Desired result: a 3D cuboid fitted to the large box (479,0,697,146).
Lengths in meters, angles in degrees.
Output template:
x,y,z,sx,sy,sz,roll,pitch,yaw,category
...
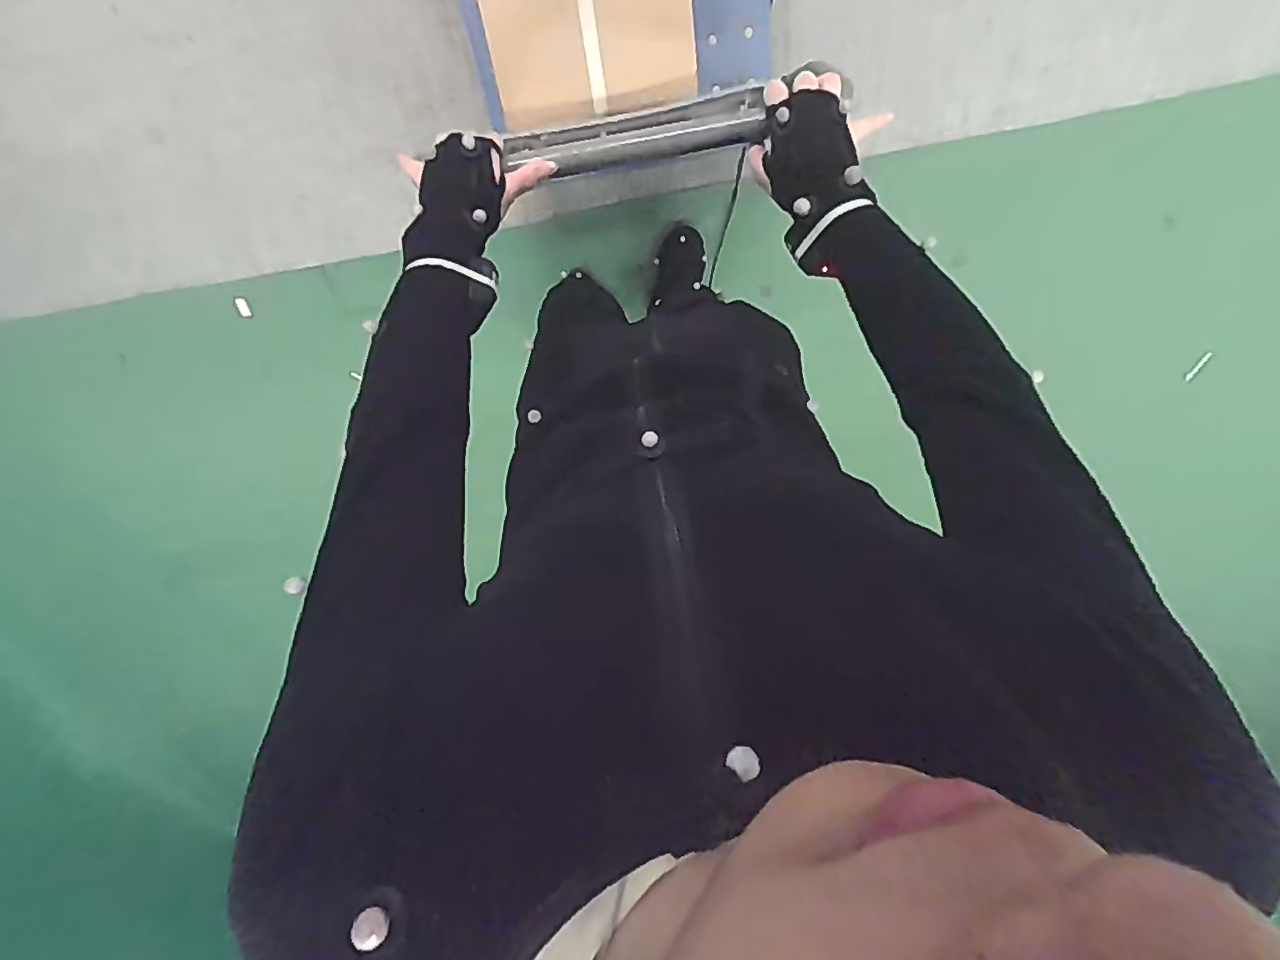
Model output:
x,y,z,sx,sy,sz,roll,pitch,yaw,category
-0.086,-0.824,0.904,0.320,0.320,0.408,-7,119,6,large box
